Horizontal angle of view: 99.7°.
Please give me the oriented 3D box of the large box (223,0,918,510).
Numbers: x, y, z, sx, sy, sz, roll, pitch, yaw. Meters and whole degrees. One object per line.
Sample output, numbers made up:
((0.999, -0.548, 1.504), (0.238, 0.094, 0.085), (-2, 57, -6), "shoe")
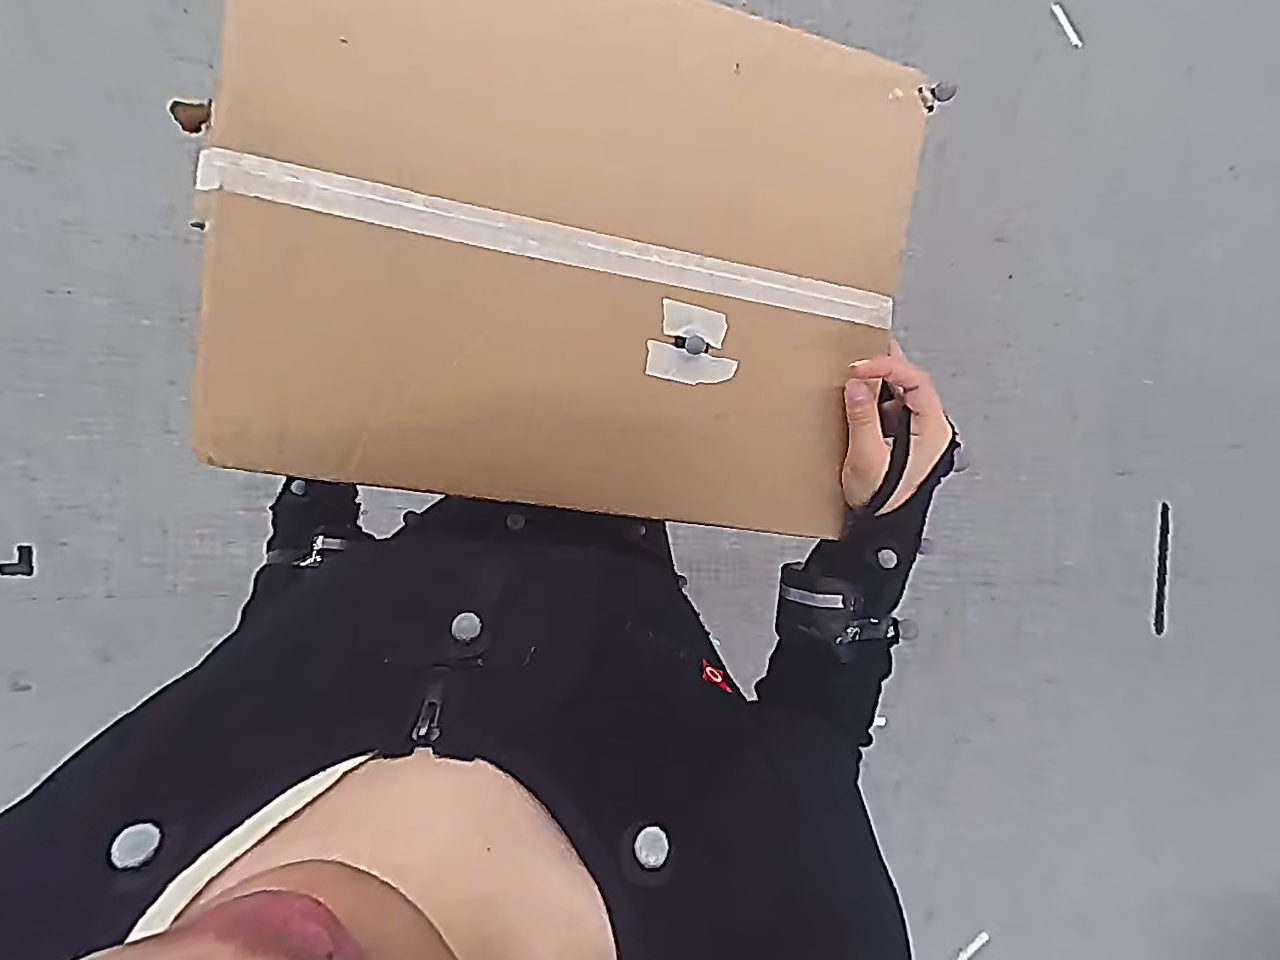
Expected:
((-0.056, -0.167, 0.475), (0.408, 0.320, 0.320), (7, 96, -13), "large box")
